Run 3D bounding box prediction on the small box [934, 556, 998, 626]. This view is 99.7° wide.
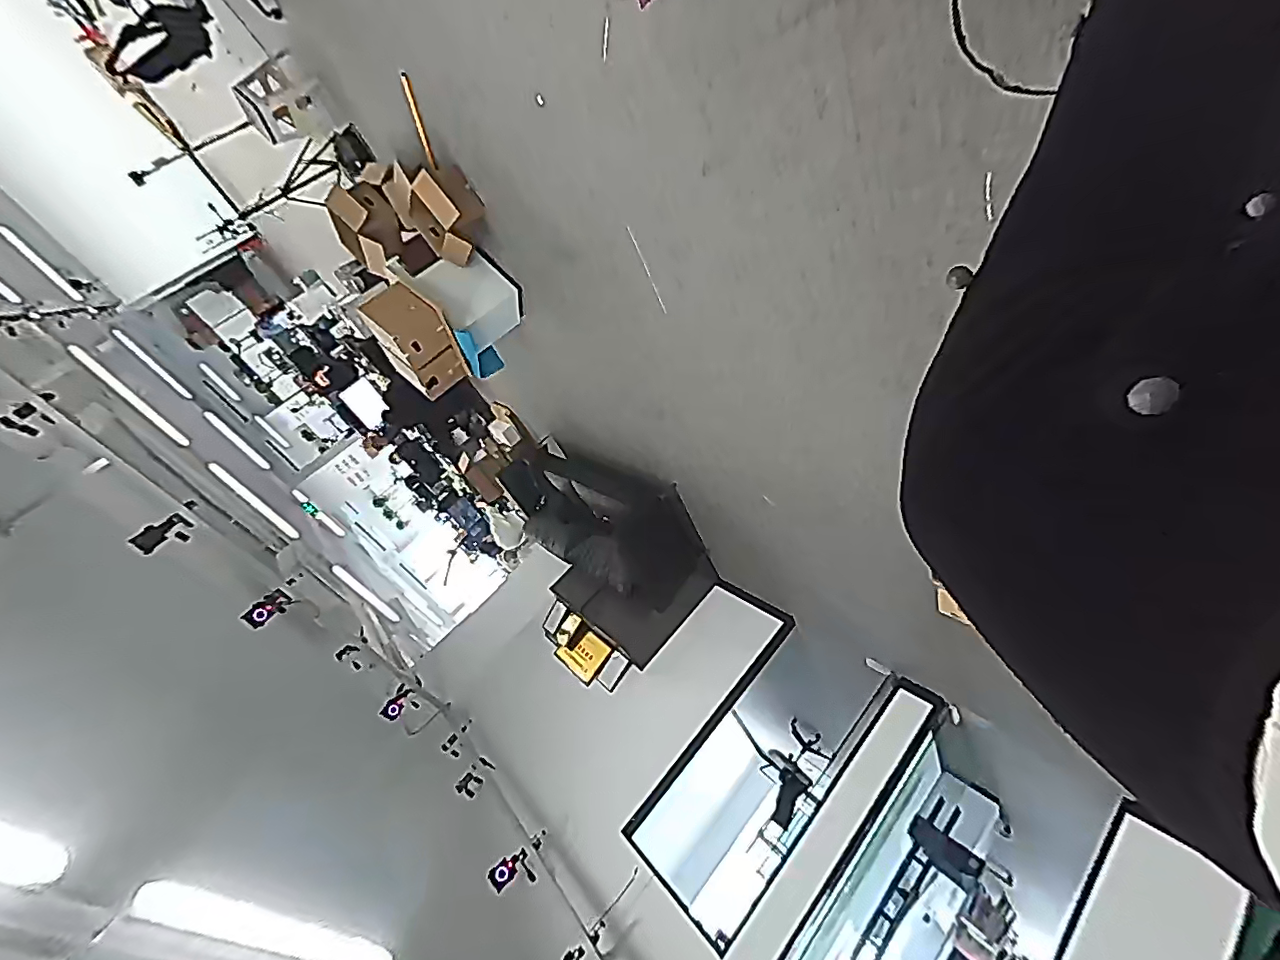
[{"bbox_3d":[1.272,0.427,2.110,0.168,0.176,0.179,24,149,44],"label":"small box"}]
